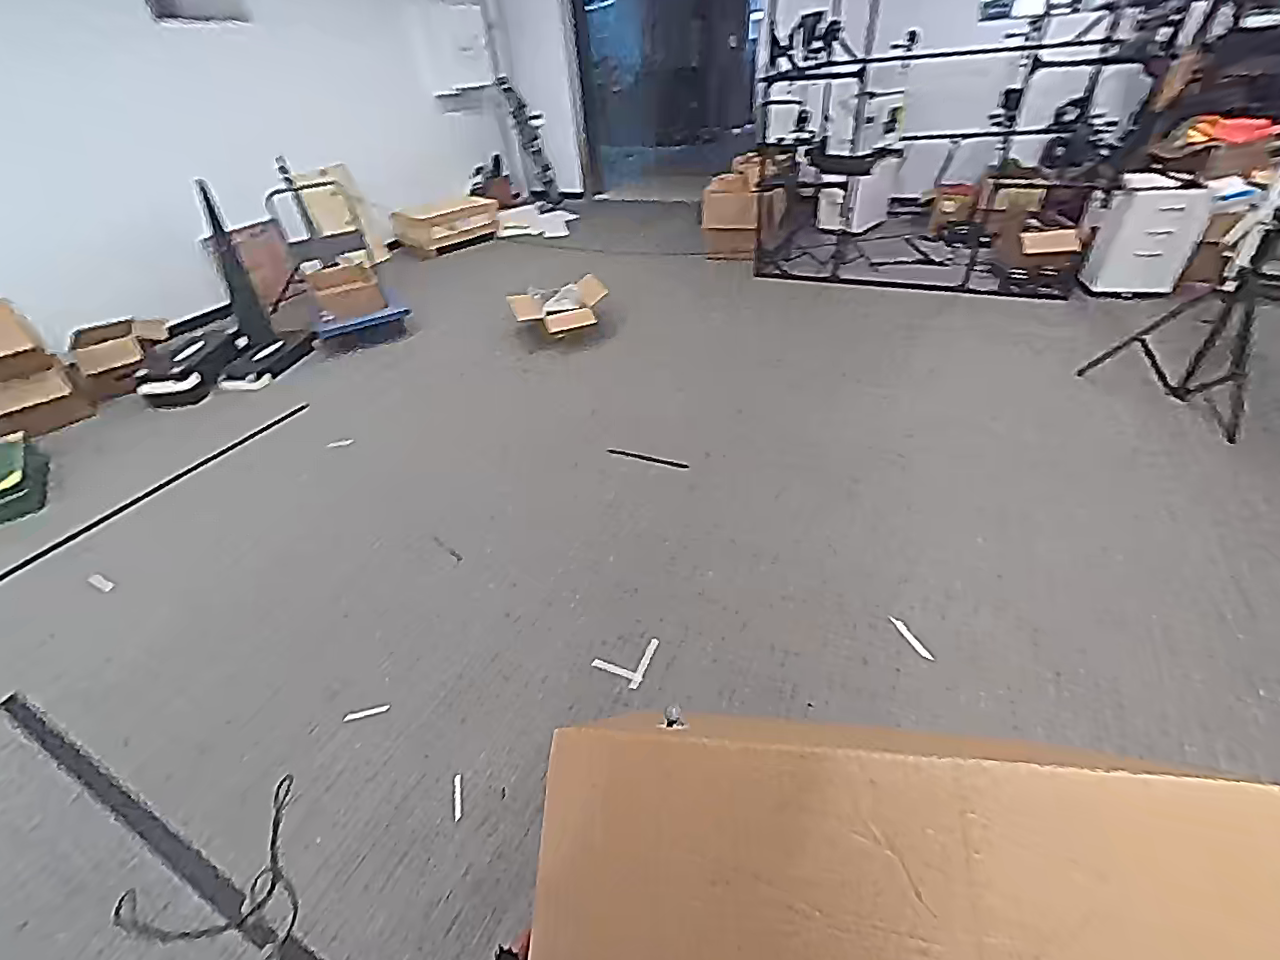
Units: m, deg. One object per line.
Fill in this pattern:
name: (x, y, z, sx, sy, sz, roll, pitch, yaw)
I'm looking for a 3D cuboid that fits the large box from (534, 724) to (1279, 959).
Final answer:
large box: (0.156, 0.365, 0.409, 0.408, 0.320, 0.320, -1, 70, 11)
